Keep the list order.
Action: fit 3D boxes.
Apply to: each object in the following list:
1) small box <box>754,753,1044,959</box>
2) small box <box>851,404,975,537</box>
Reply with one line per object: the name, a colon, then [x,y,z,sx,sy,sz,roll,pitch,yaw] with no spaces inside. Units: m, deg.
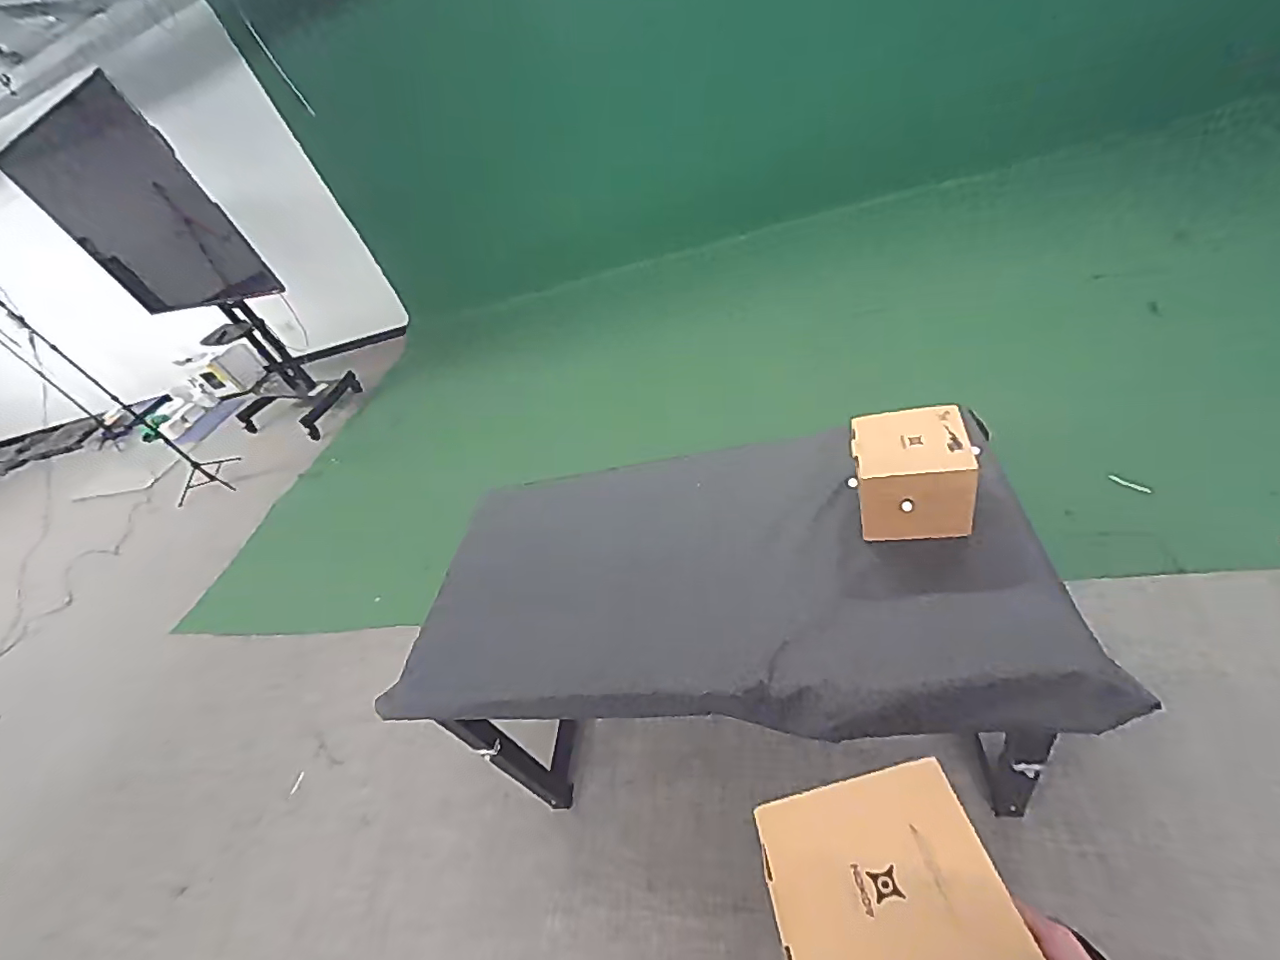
small box: [0.224,0.383,0.483,0.179,0.176,0.168,-21,35,8]
small box: [0.486,-0.011,0.974,0.179,0.176,0.168,-6,44,22]
